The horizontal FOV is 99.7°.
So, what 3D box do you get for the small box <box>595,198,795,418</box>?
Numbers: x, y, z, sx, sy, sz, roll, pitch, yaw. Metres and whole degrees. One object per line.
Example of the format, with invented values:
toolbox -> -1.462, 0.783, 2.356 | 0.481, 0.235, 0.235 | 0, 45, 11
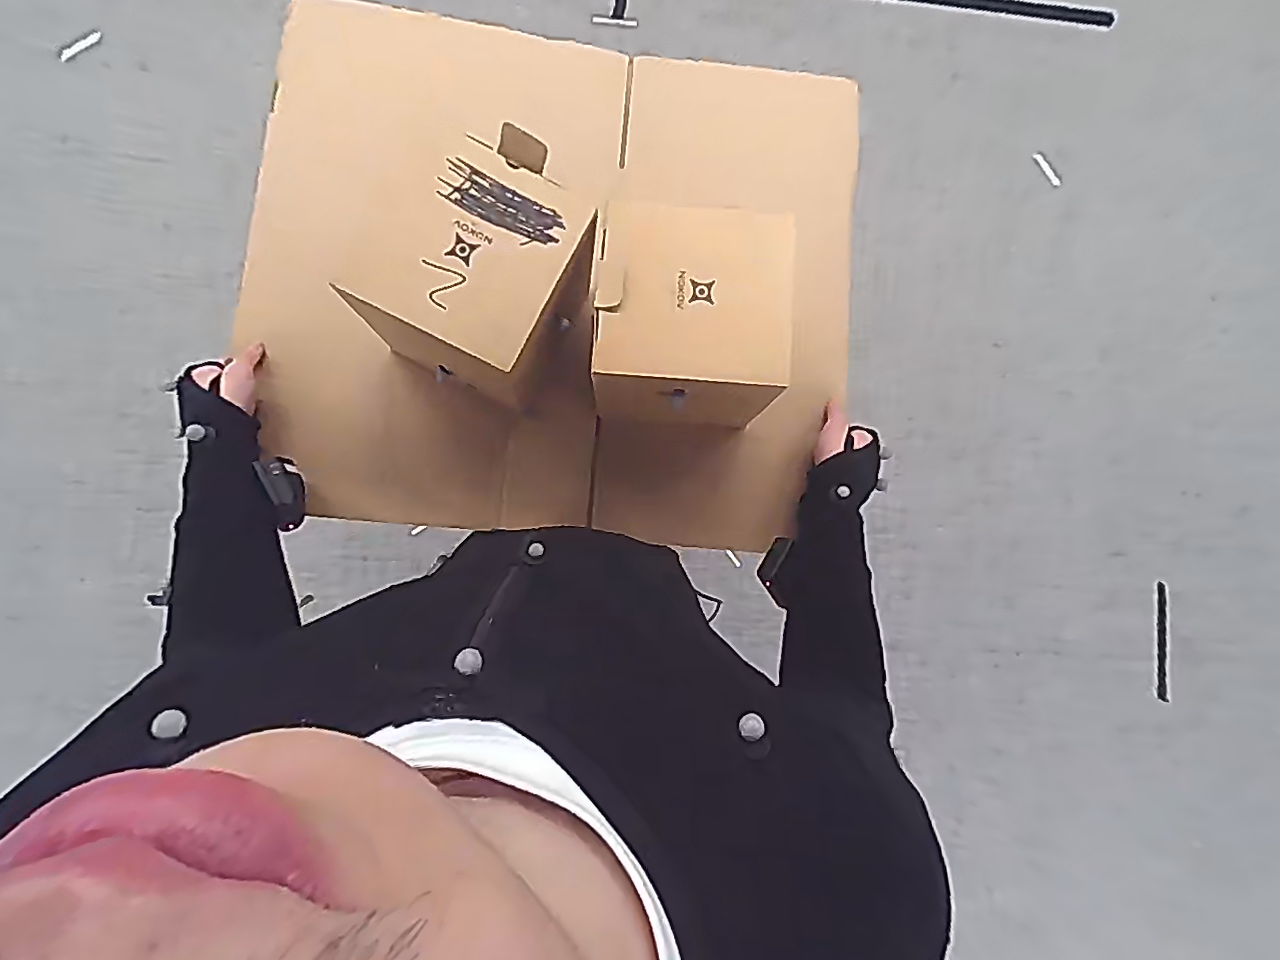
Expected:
small box -> 0.050, -0.166, 0.572 | 0.179, 0.176, 0.168 | 4, 84, -1
